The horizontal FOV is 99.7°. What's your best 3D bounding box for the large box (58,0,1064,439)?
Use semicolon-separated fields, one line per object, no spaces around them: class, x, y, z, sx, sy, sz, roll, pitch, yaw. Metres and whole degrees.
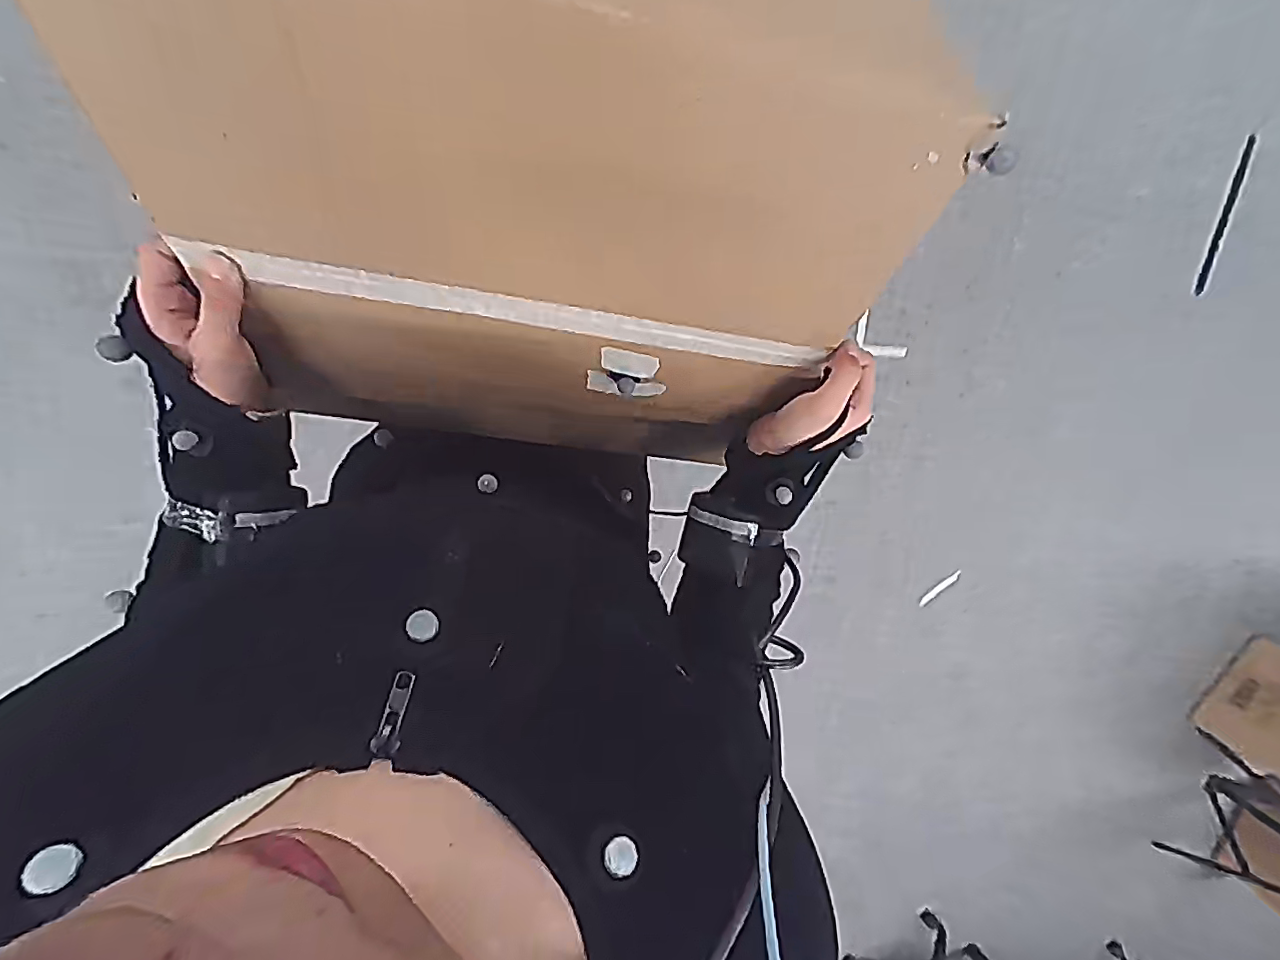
large box;-0.051;-0.257;0.387;0.408;0.320;0.320;6;151;-11
